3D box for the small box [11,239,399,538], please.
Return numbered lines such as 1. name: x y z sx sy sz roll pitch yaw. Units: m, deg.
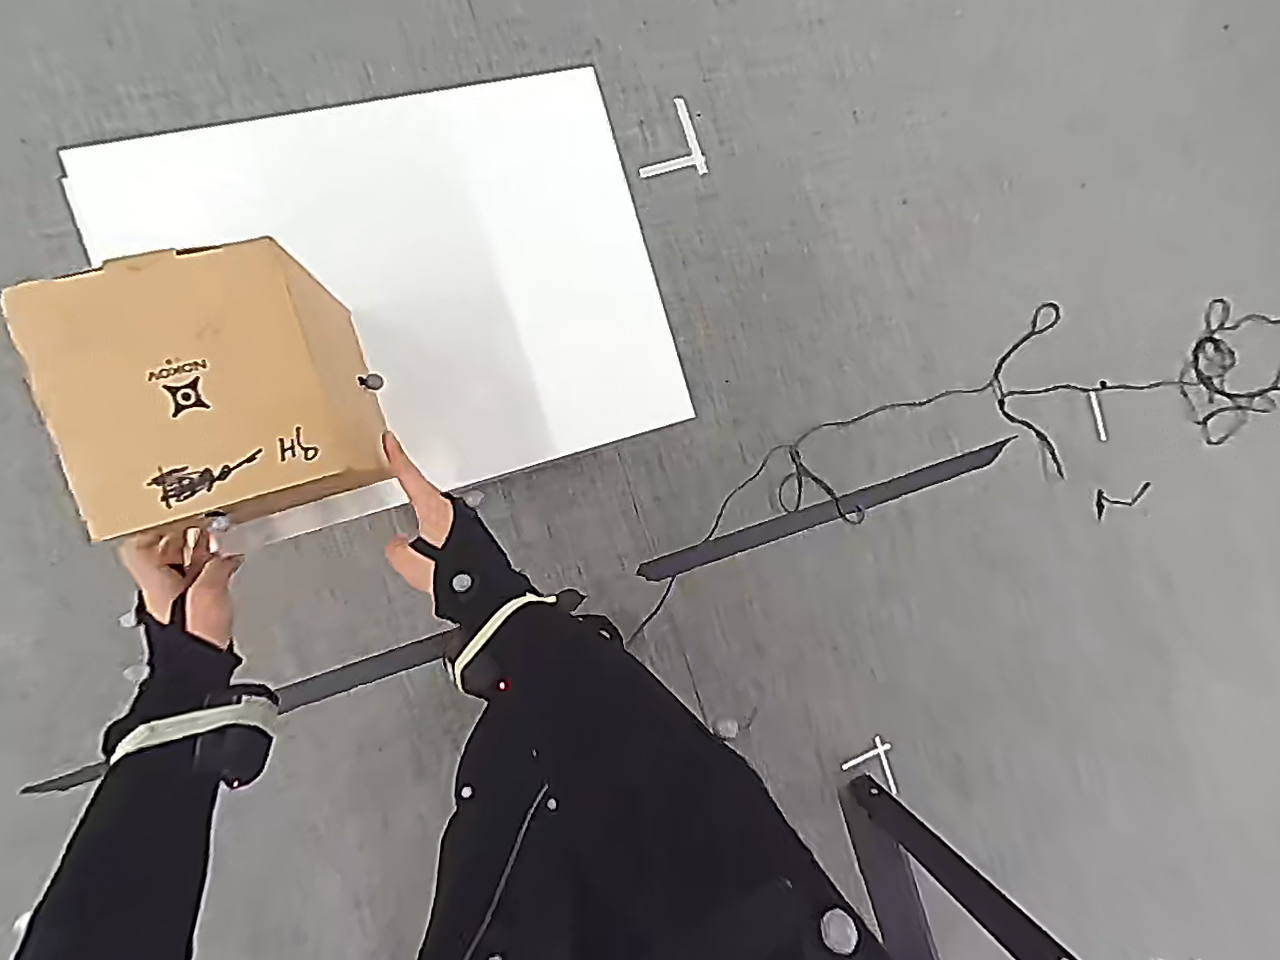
1. small box: -0.322 -0.063 0.445 0.168 0.176 0.179 -18 92 -11
